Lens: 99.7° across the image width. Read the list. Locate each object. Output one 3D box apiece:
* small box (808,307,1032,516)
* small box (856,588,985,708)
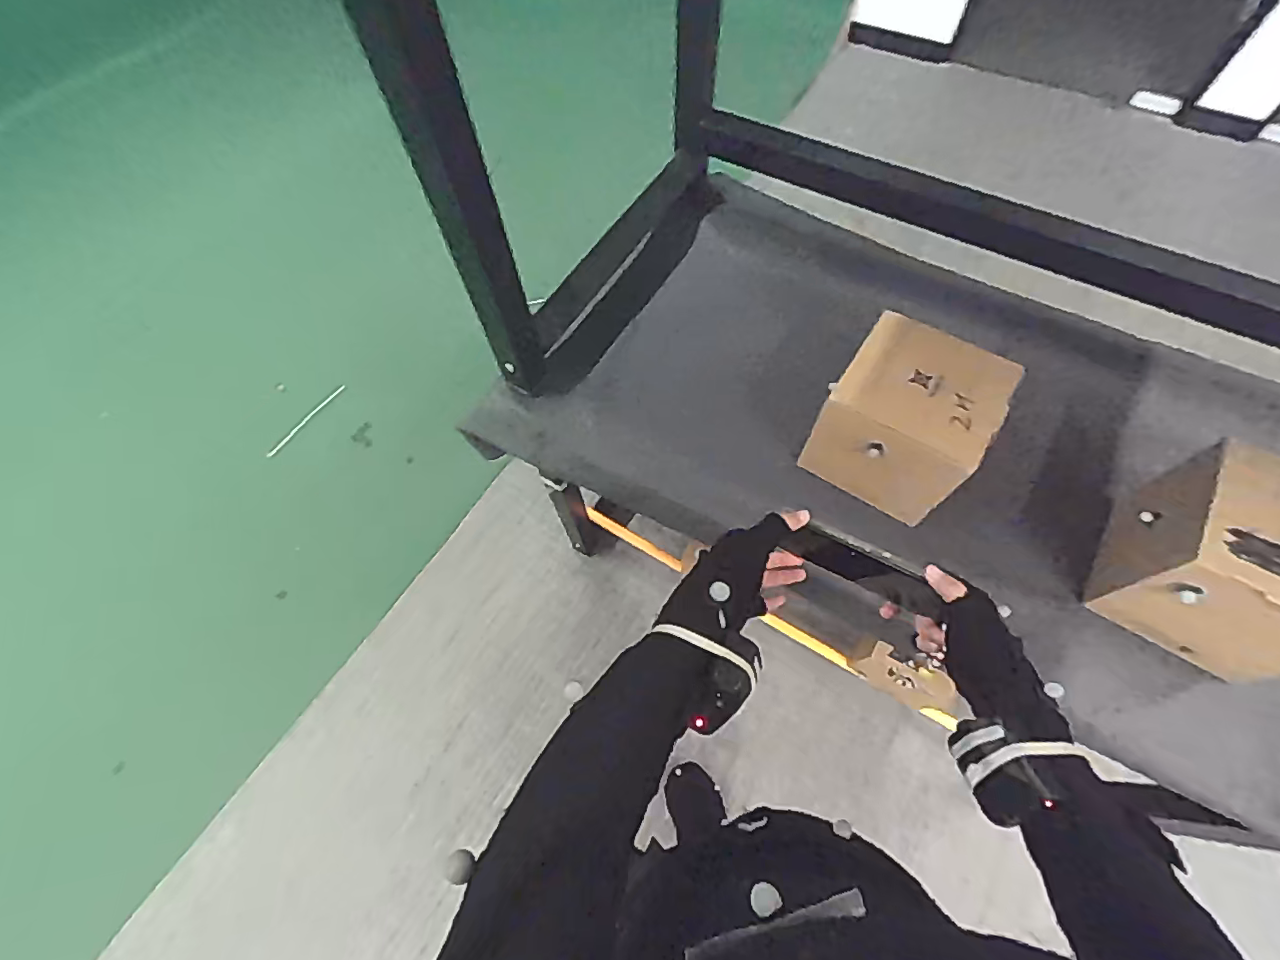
[{"bbox_3d":[0.341,-0.079,0.693,0.179,0.176,0.168,31,69,17],"label":"small box"},{"bbox_3d":[0.586,0.366,1.156,0.168,0.176,0.179,32,70,17],"label":"small box"}]
